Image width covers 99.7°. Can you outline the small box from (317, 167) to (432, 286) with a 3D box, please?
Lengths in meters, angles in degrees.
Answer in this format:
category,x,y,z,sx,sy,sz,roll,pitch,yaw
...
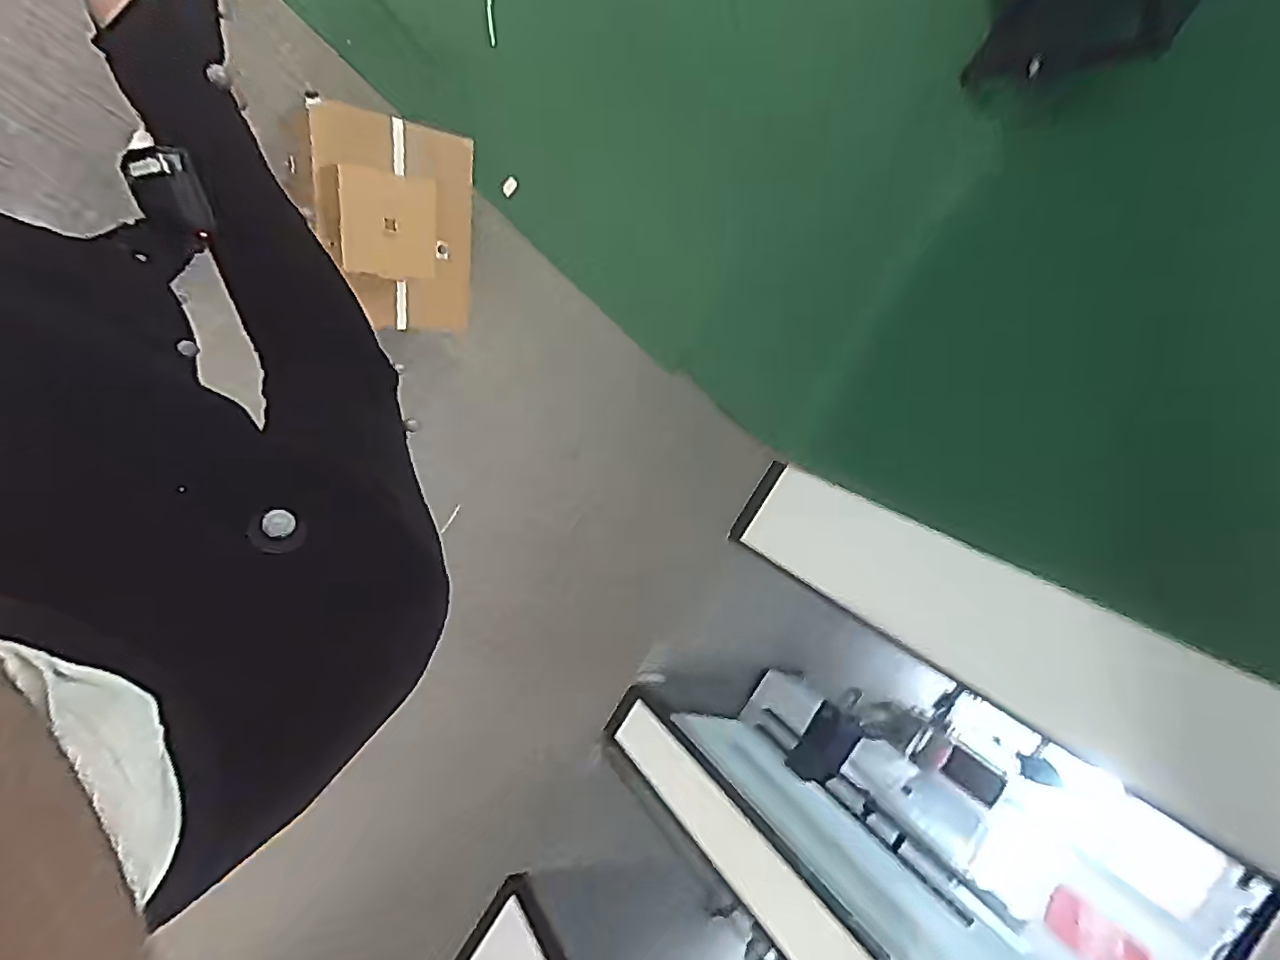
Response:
category,x,y,z,sx,sy,sz,roll,pitch,yaw
small box,-0.510,-0.483,1.037,0.168,0.176,0.179,-8,117,-38

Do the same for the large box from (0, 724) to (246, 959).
category,x,y,z,sx,sy,sz,roll,pitch,yaw
large box,-1.372,0.961,1.444,0.408,0.320,0.320,-35,133,-23
